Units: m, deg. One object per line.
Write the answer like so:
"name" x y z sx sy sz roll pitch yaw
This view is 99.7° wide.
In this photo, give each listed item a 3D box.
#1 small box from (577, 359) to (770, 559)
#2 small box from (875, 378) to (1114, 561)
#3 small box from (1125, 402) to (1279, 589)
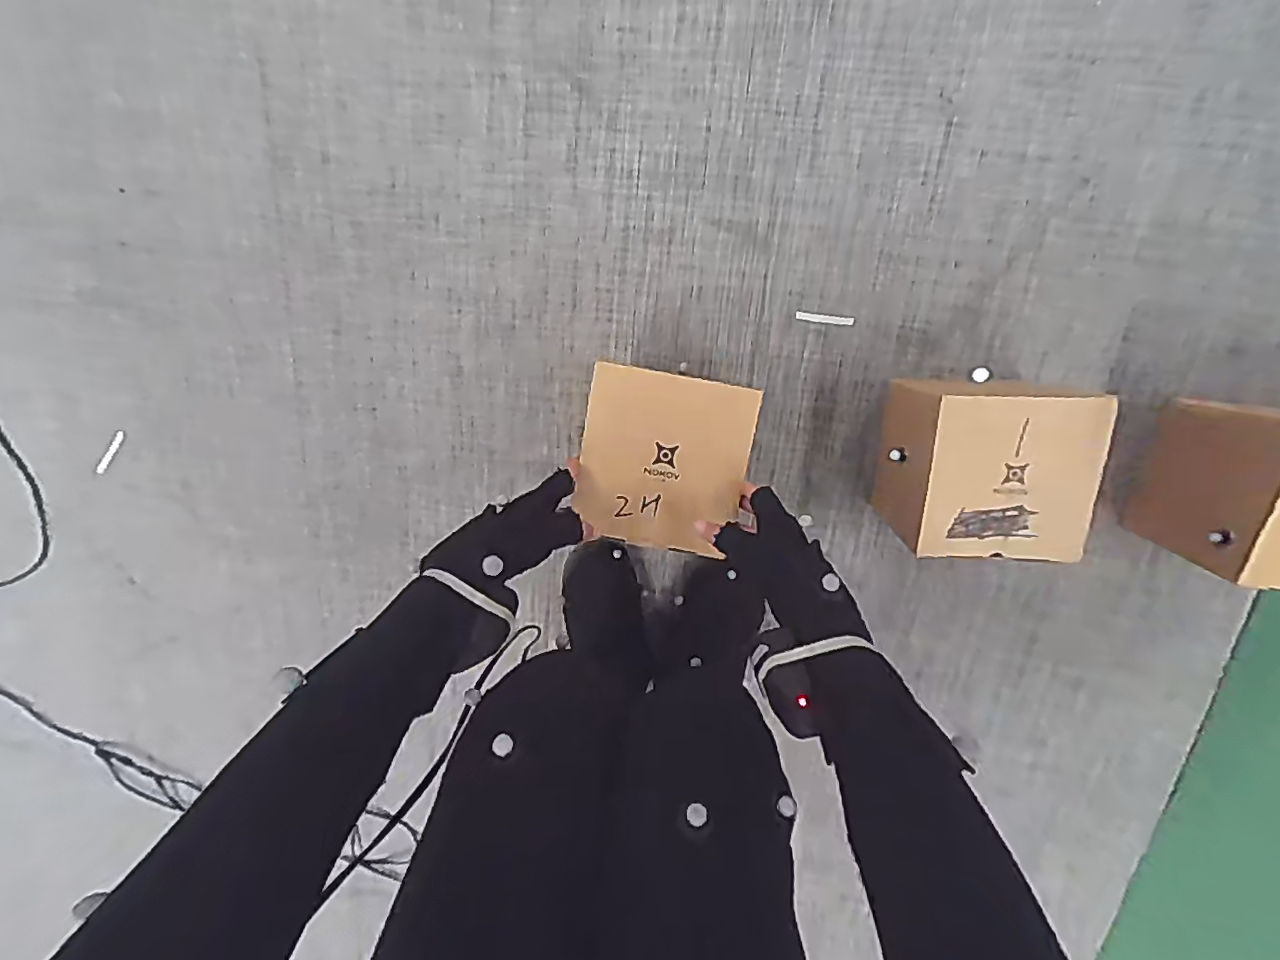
"small box" 0.033 -0.032 0.615 0.168 0.176 0.179 11 101 0
"small box" 0.391 -0.022 0.636 0.168 0.176 0.179 2 106 6
"small box" 0.712 0.013 0.609 0.168 0.176 0.179 7 107 5
